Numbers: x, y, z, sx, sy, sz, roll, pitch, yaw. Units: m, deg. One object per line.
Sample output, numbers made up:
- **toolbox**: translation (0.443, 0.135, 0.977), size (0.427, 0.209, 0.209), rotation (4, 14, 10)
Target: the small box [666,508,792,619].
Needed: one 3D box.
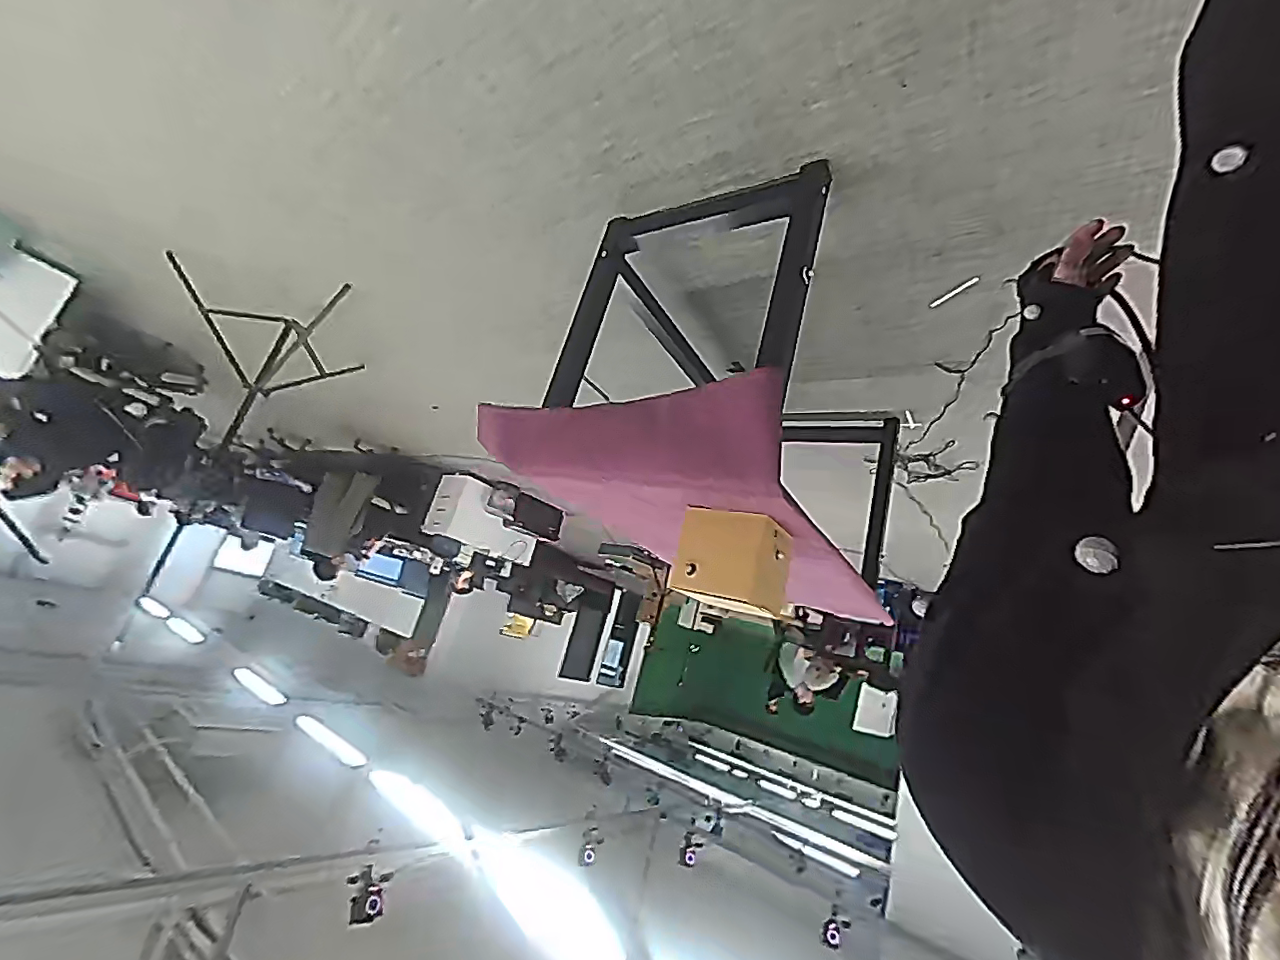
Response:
- **small box**: translation (0.181, 0.161, 1.069), size (0.179, 0.176, 0.168), rotation (4, 161, 36)
